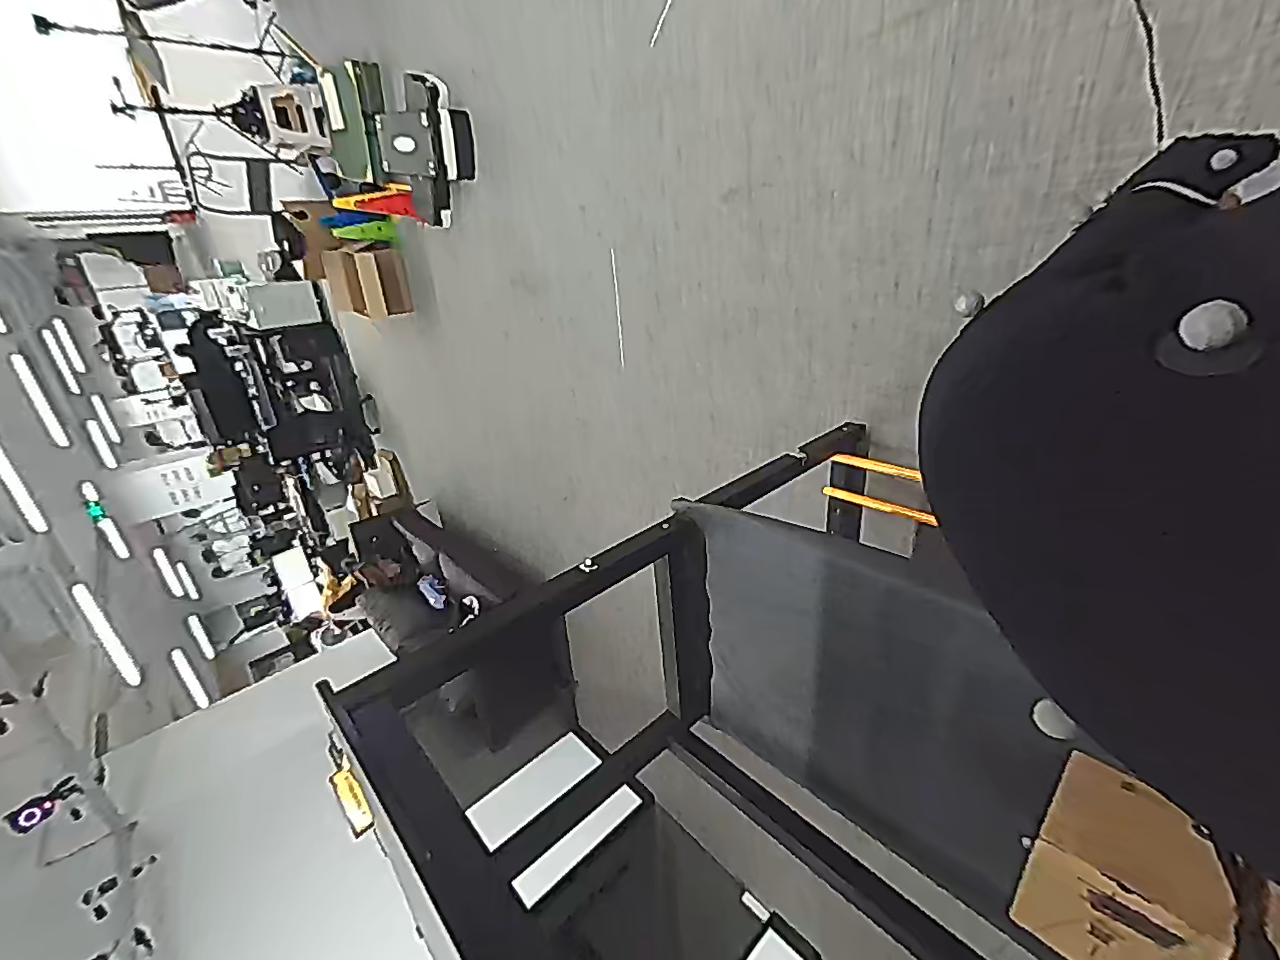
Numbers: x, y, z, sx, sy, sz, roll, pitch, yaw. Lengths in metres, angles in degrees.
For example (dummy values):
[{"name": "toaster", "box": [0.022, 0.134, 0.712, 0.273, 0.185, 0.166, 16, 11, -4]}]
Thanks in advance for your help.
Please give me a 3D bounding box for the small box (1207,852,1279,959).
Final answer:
[{"name": "small box", "box": [0.716, 0.538, 0.550, 0.168, 0.176, 0.179, 25, 128, 43]}]
